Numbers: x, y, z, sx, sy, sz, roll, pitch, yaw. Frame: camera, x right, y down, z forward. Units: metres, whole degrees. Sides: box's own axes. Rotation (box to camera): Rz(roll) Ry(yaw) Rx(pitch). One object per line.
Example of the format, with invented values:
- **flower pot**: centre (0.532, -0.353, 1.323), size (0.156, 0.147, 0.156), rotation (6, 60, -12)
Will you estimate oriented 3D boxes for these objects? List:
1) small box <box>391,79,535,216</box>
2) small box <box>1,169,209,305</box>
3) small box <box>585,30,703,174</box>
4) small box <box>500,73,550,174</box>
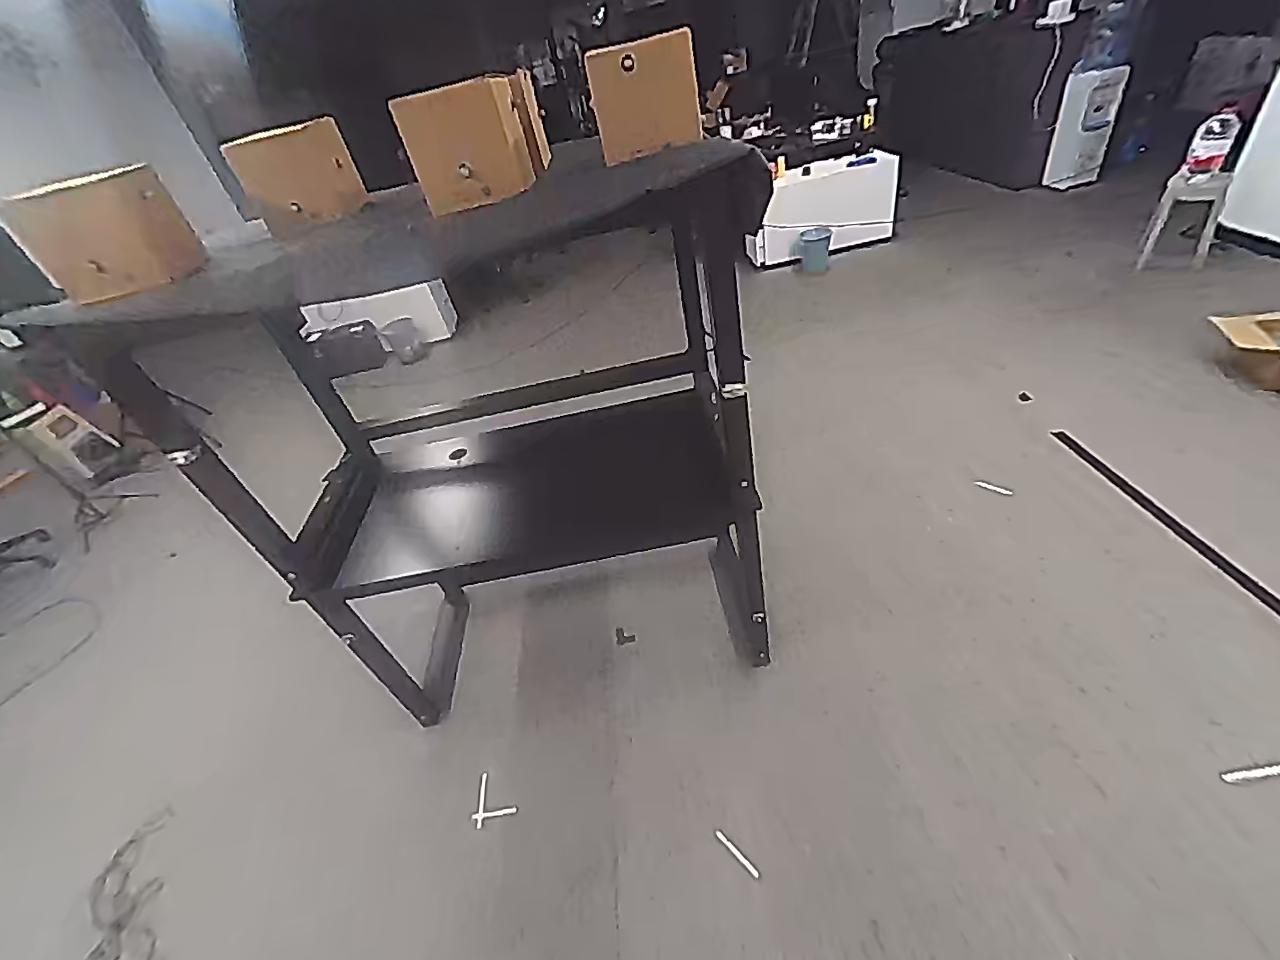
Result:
- **small box**: centre (-0.290, -0.572, 0.934), size (0.168, 0.176, 0.179), rotation (-11, 37, 5)
- **small box**: centre (-0.920, -0.430, 0.958), size (0.168, 0.176, 0.179), rotation (-17, 40, -5)
- **small box**: centre (0.011, -0.640, 0.925), size (0.168, 0.176, 0.179), rotation (-10, 38, 7)
- **small box**: centre (-0.296, -0.728, 1.131), size (0.179, 0.176, 0.168), rotation (-10, 38, 5)
